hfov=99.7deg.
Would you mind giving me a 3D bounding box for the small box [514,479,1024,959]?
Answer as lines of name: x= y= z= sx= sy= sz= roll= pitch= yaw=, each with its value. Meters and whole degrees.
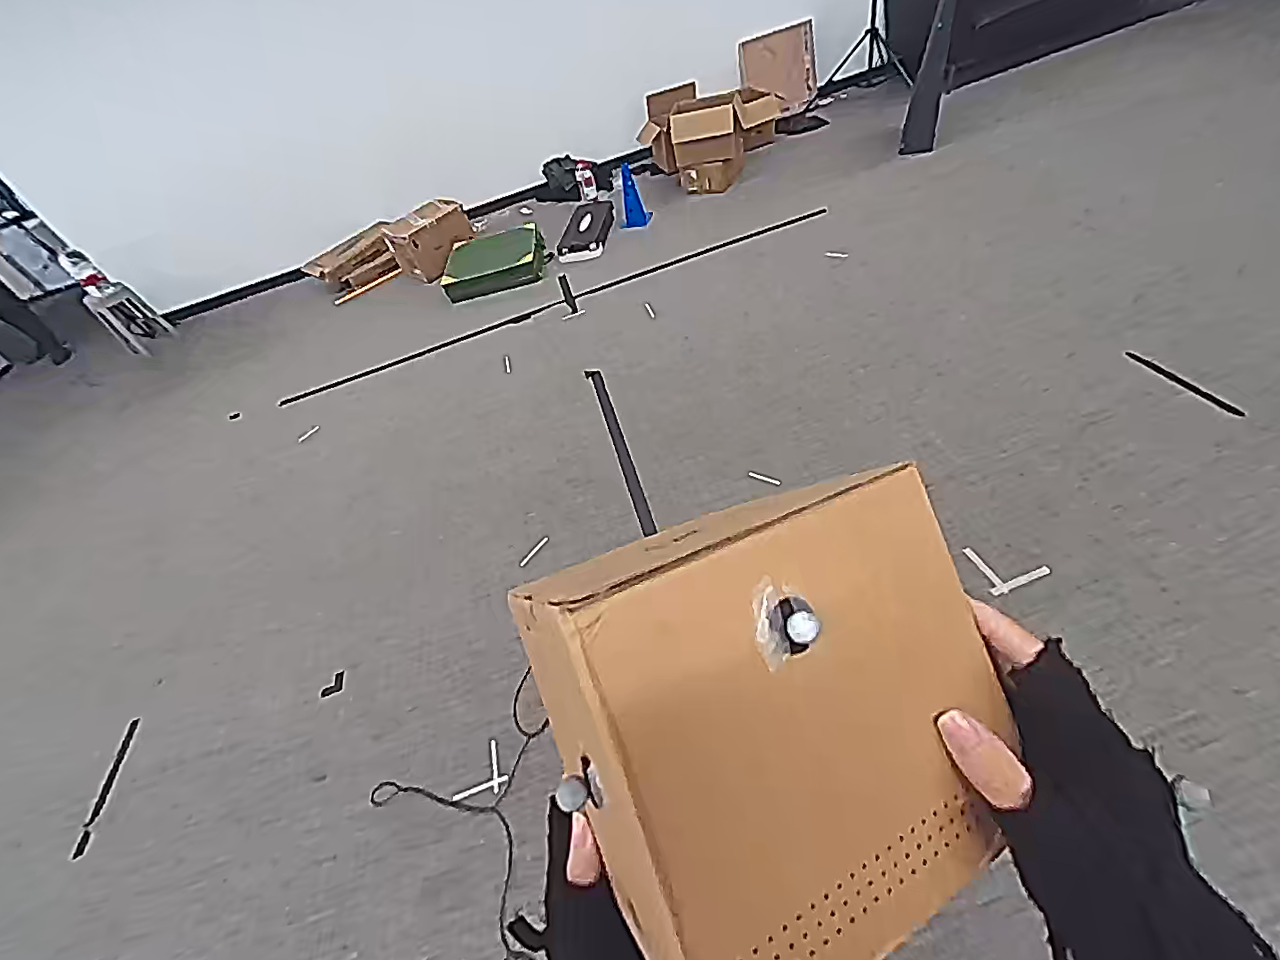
small box: x=0.051 y=0.116 z=0.283 sx=0.179 sy=0.168 sz=0.176 roll=-18 pitch=87 yaw=-21
